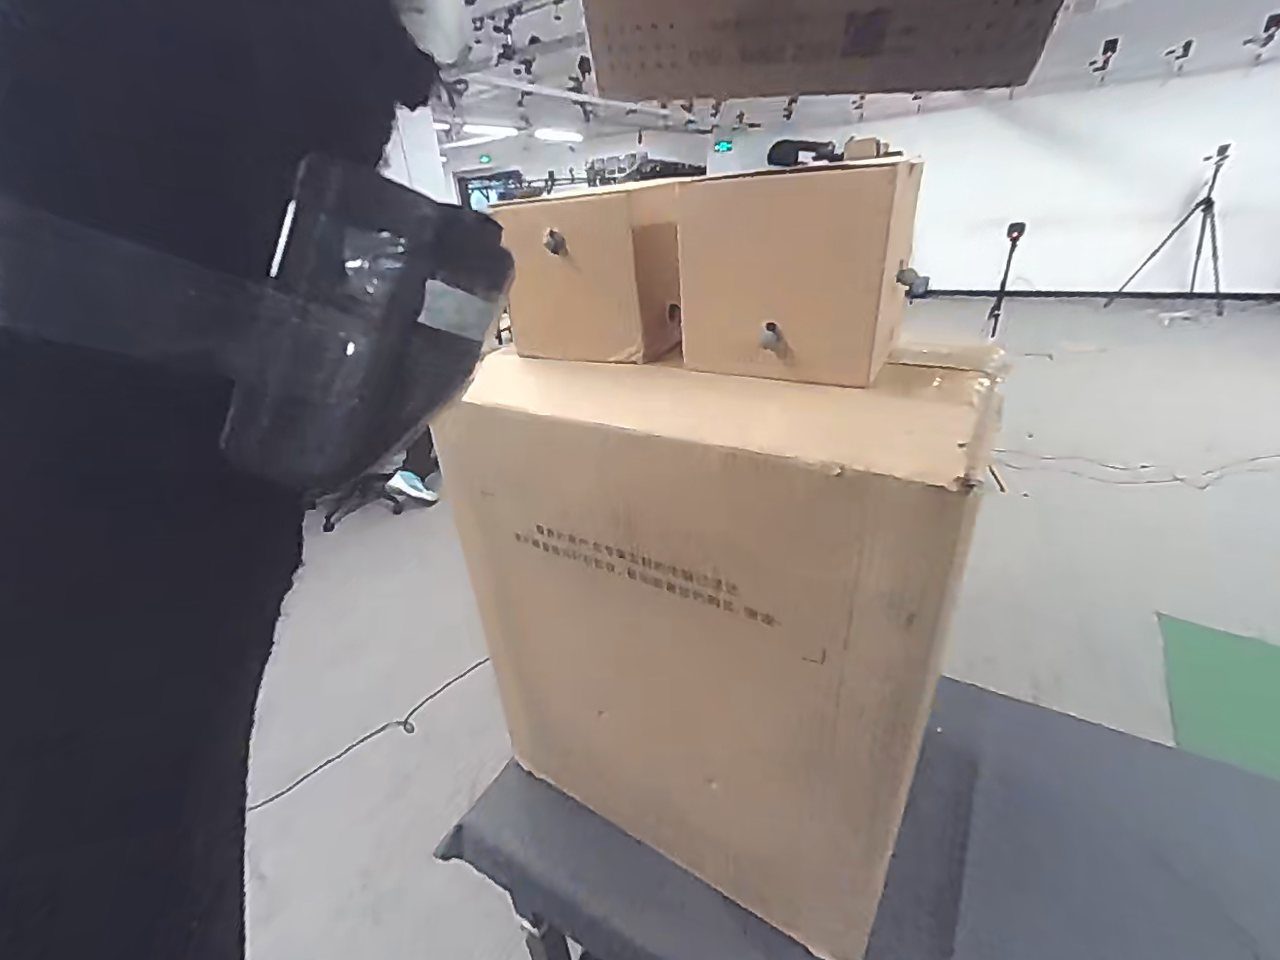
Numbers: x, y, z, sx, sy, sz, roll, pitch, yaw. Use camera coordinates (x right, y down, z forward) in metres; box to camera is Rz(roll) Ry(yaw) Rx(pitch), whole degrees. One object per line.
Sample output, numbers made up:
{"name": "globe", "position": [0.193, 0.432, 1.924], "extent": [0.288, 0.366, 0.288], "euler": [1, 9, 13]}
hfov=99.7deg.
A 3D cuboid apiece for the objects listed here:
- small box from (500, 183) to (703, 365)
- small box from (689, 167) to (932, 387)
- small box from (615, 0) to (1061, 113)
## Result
{"name": "small box", "position": [-0.030, -0.240, 0.629], "extent": [0.179, 0.176, 0.168], "euler": [11, 34, 27]}
{"name": "small box", "position": [0.161, -0.198, 0.521], "extent": [0.179, 0.176, 0.168], "euler": [13, 33, 28]}
{"name": "small box", "position": [0.076, -0.266, 0.193], "extent": [0.168, 0.176, 0.179], "euler": [8, 62, 12]}
